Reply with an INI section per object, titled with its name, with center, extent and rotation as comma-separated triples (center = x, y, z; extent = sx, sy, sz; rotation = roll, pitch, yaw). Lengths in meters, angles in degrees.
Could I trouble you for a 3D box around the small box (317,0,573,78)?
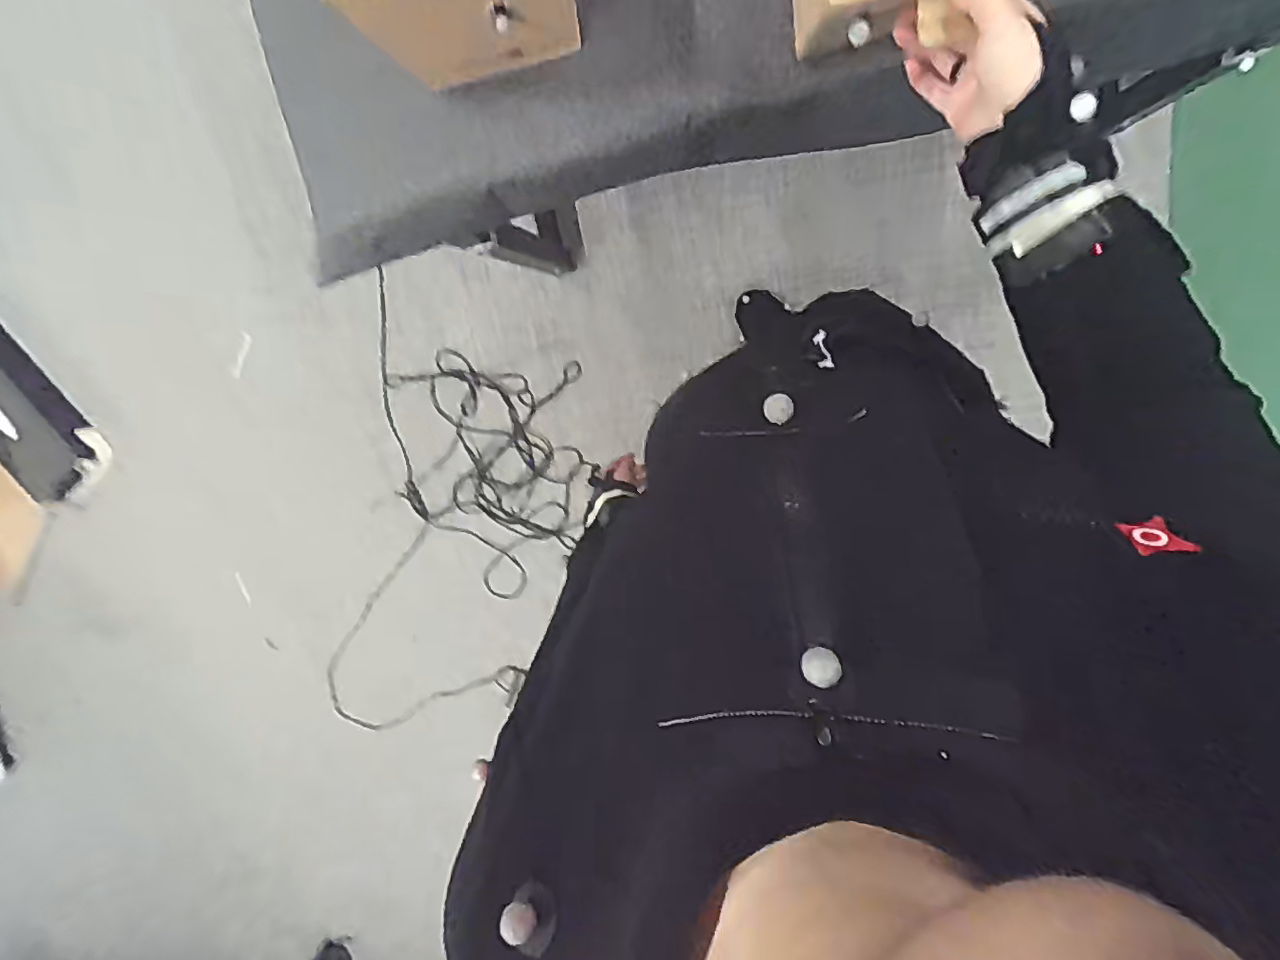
[small box]
center = -0.164, -0.468, 0.442
extent = 0.168, 0.176, 0.179
rotation = -7, 102, 11
